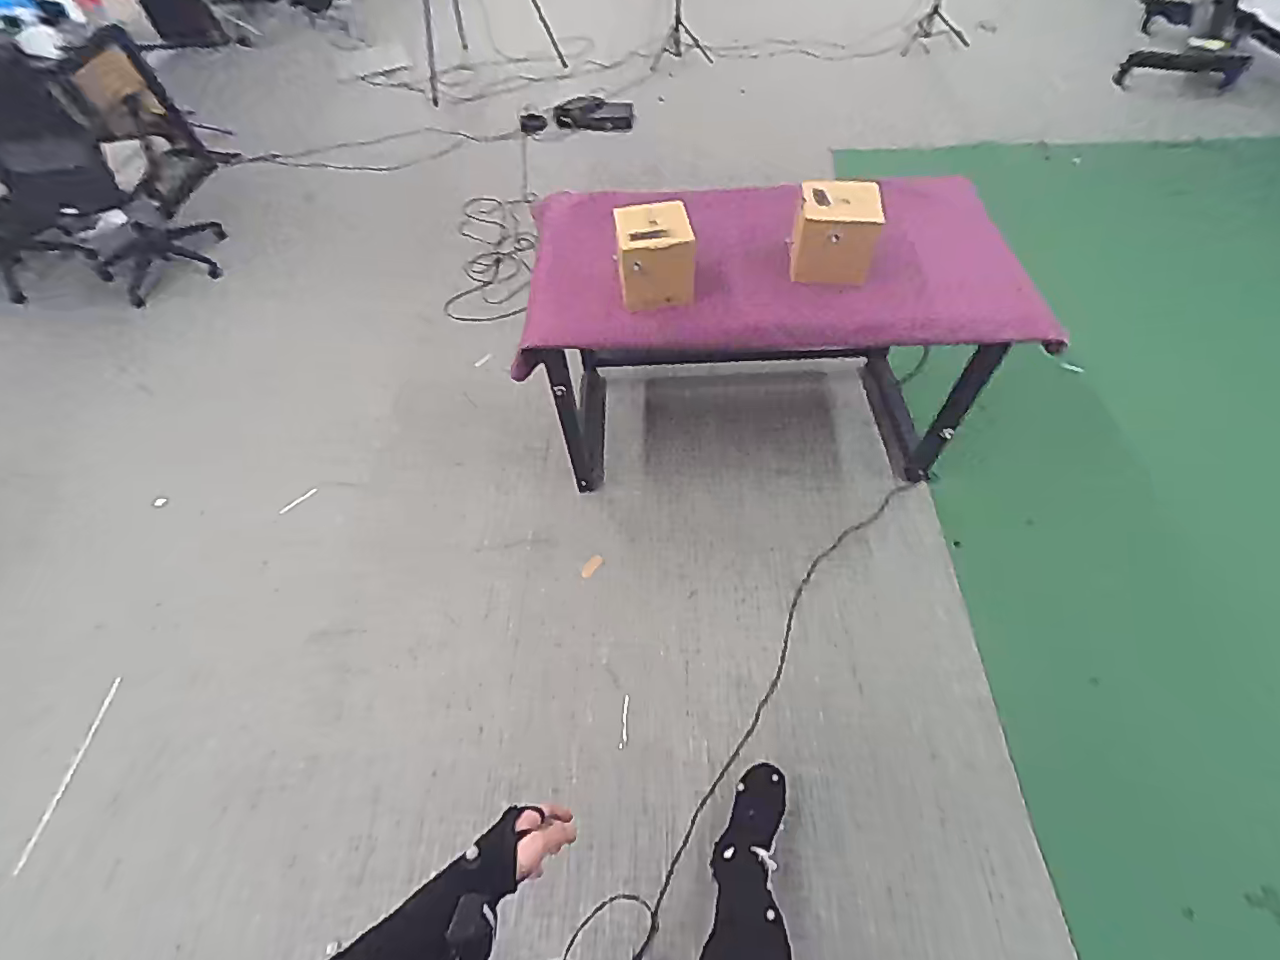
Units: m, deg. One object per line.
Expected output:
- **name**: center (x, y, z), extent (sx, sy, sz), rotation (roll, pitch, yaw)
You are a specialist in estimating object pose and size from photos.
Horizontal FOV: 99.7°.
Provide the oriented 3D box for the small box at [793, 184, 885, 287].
- **small box**: center (0.470, -0.588, 1.308), extent (0.179, 0.176, 0.168), rotation (6, 57, 6)
